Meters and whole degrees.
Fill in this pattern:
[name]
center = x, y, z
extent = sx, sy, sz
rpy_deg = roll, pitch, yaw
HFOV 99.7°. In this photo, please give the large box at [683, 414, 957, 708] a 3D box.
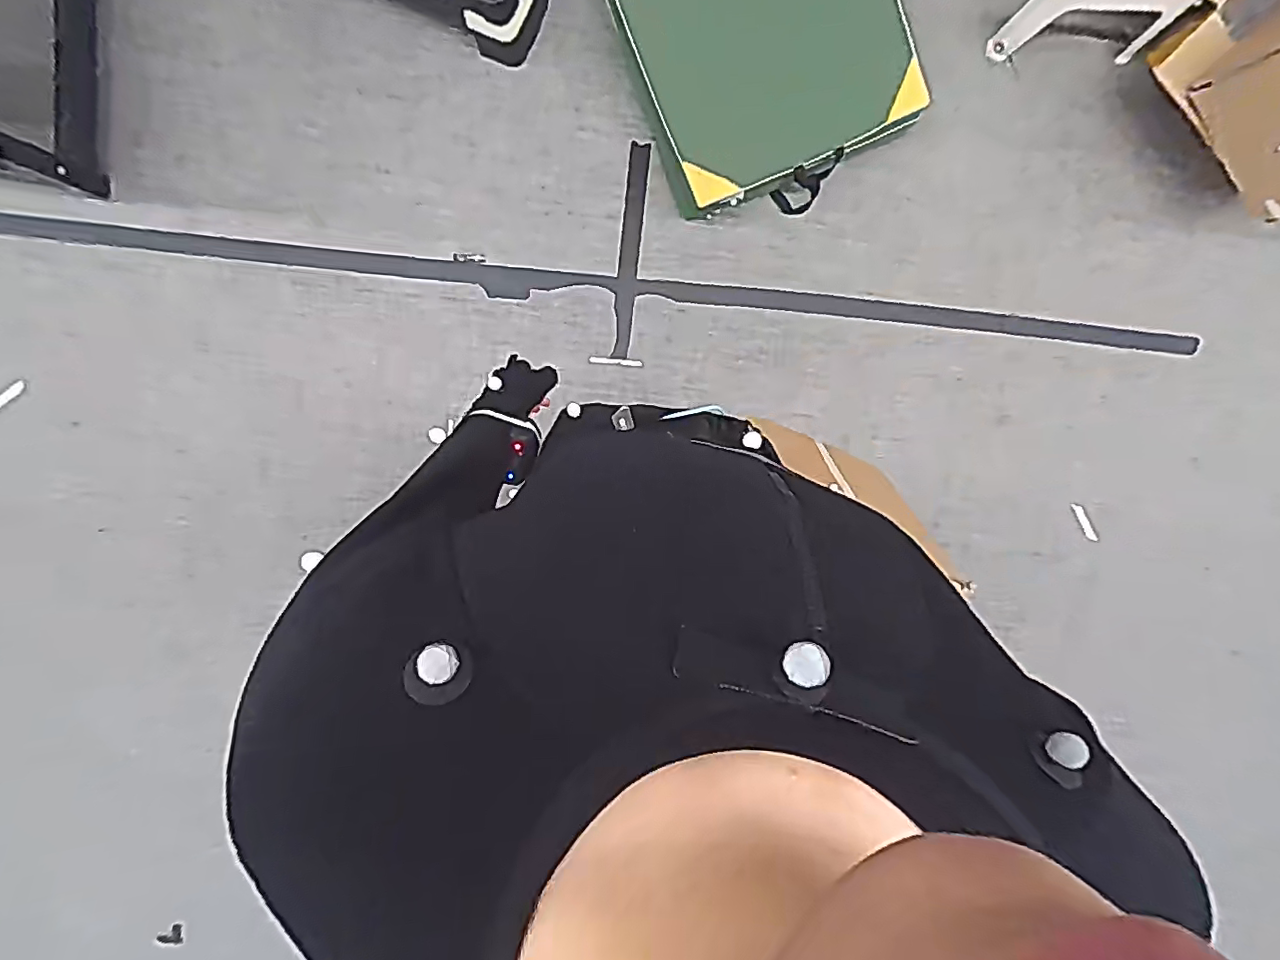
[large box]
center = 0.284, 0.133, 1.020
extent = 0.320, 0.408, 0.320
rpy_deg = 21, 118, -7
